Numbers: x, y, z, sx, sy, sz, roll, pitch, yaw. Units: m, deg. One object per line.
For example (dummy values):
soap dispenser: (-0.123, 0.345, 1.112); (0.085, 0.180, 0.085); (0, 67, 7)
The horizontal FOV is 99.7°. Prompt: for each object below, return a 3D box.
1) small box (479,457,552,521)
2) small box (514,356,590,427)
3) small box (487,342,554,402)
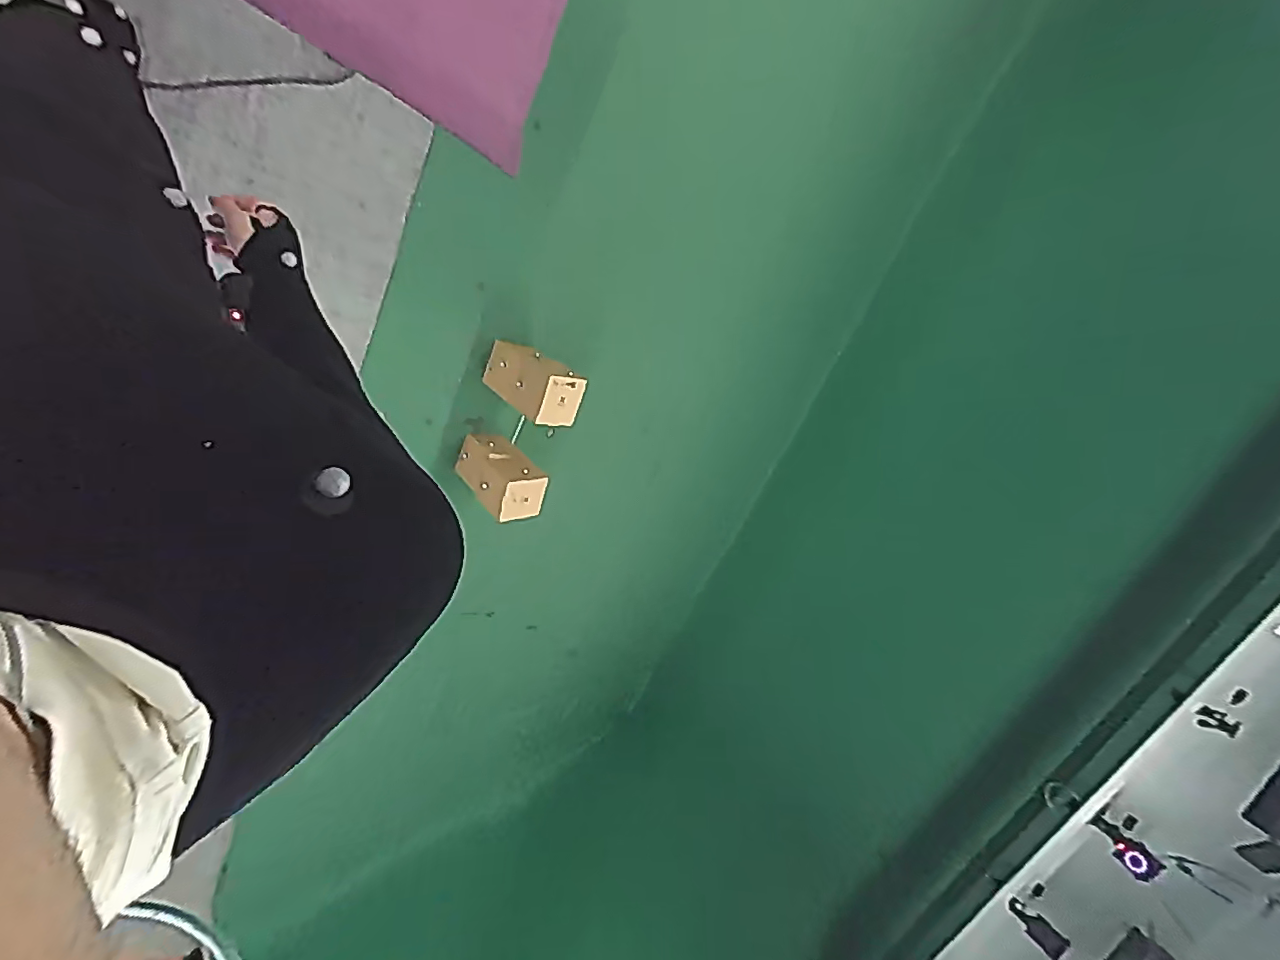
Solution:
small box: (-0.456, 0.027, 1.968); (0.179, 0.176, 0.168); (-8, 127, -46)
small box: (-0.306, -0.301, 1.844); (0.168, 0.176, 0.179); (-3, 123, -50)
small box: (-0.418, -0.381, 1.934); (0.179, 0.176, 0.168); (0, 120, -51)
